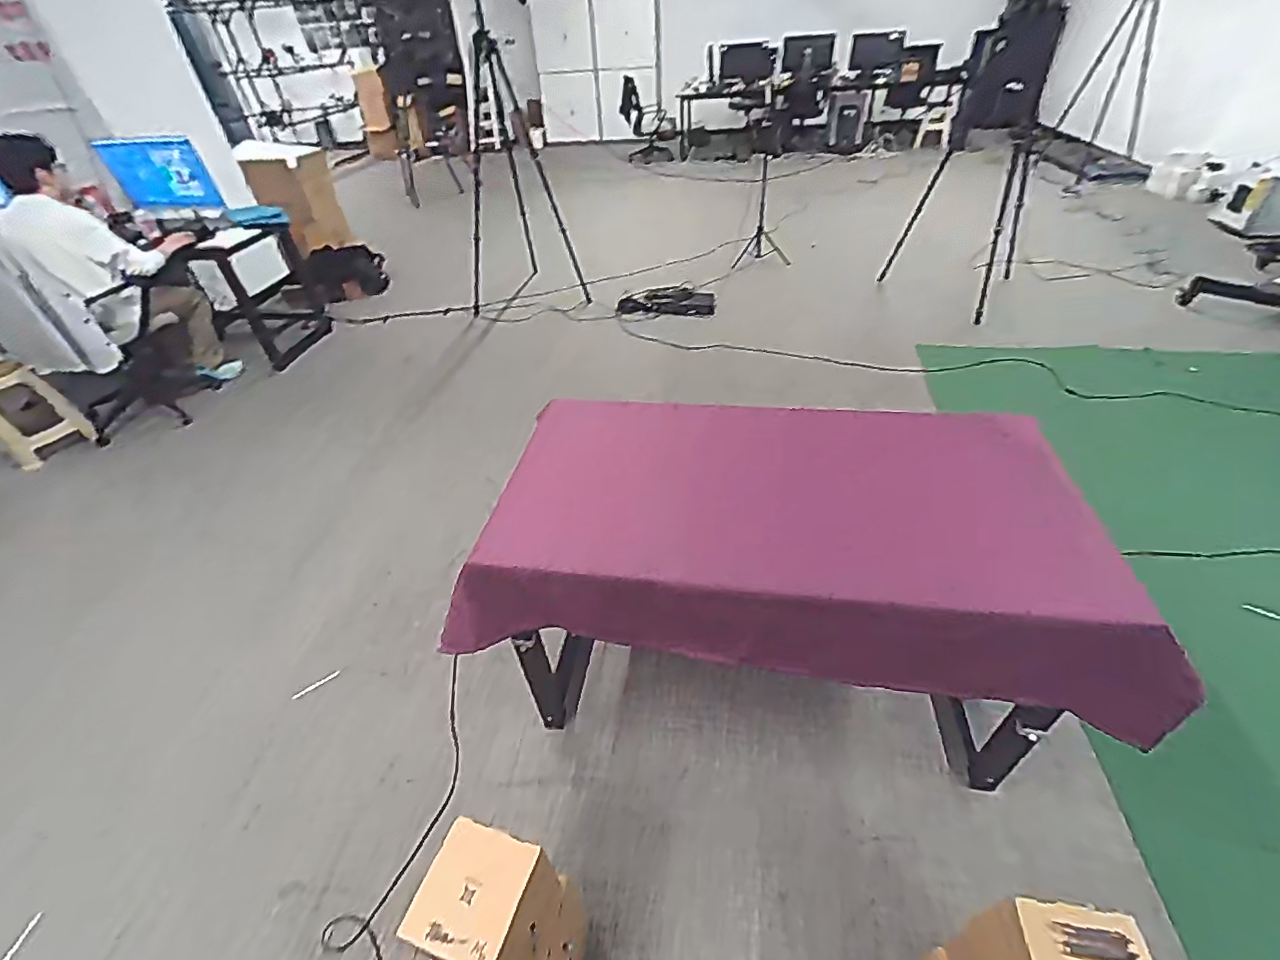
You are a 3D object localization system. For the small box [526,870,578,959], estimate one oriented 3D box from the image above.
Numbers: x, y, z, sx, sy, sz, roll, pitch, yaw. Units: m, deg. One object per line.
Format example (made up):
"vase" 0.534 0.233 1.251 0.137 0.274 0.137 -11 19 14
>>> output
"small box" -0.229 0.839 1.012 0.179 0.176 0.168 5 42 11

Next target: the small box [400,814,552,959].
"small box" -0.260 0.711 0.910 0.168 0.176 0.179 9 42 17
